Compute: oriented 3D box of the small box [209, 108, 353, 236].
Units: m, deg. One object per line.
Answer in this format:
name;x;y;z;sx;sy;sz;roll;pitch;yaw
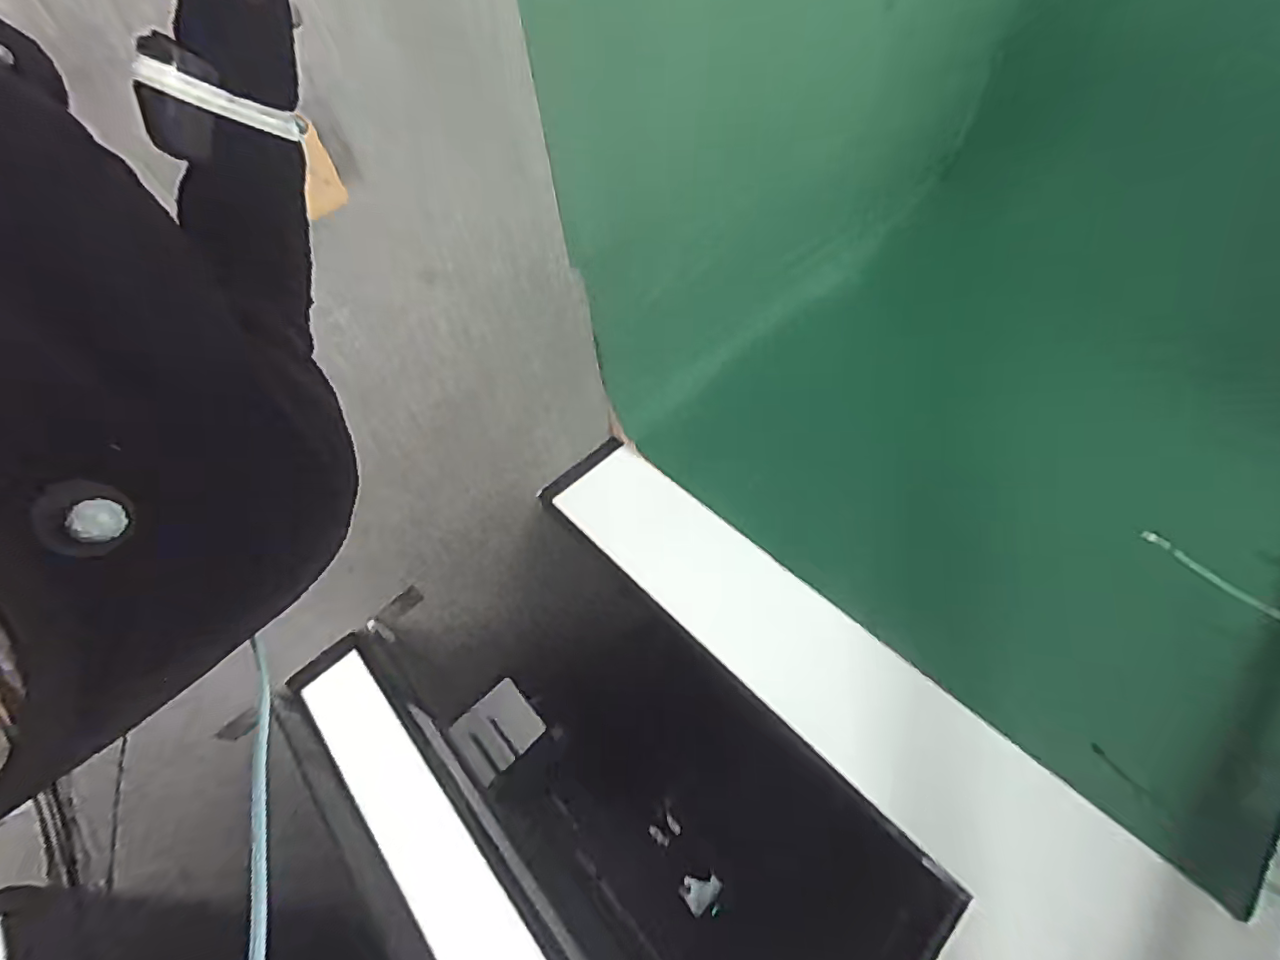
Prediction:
small box;-0.748;-0.642;1.123;0.179;0.176;0.168;-40;149;-21
